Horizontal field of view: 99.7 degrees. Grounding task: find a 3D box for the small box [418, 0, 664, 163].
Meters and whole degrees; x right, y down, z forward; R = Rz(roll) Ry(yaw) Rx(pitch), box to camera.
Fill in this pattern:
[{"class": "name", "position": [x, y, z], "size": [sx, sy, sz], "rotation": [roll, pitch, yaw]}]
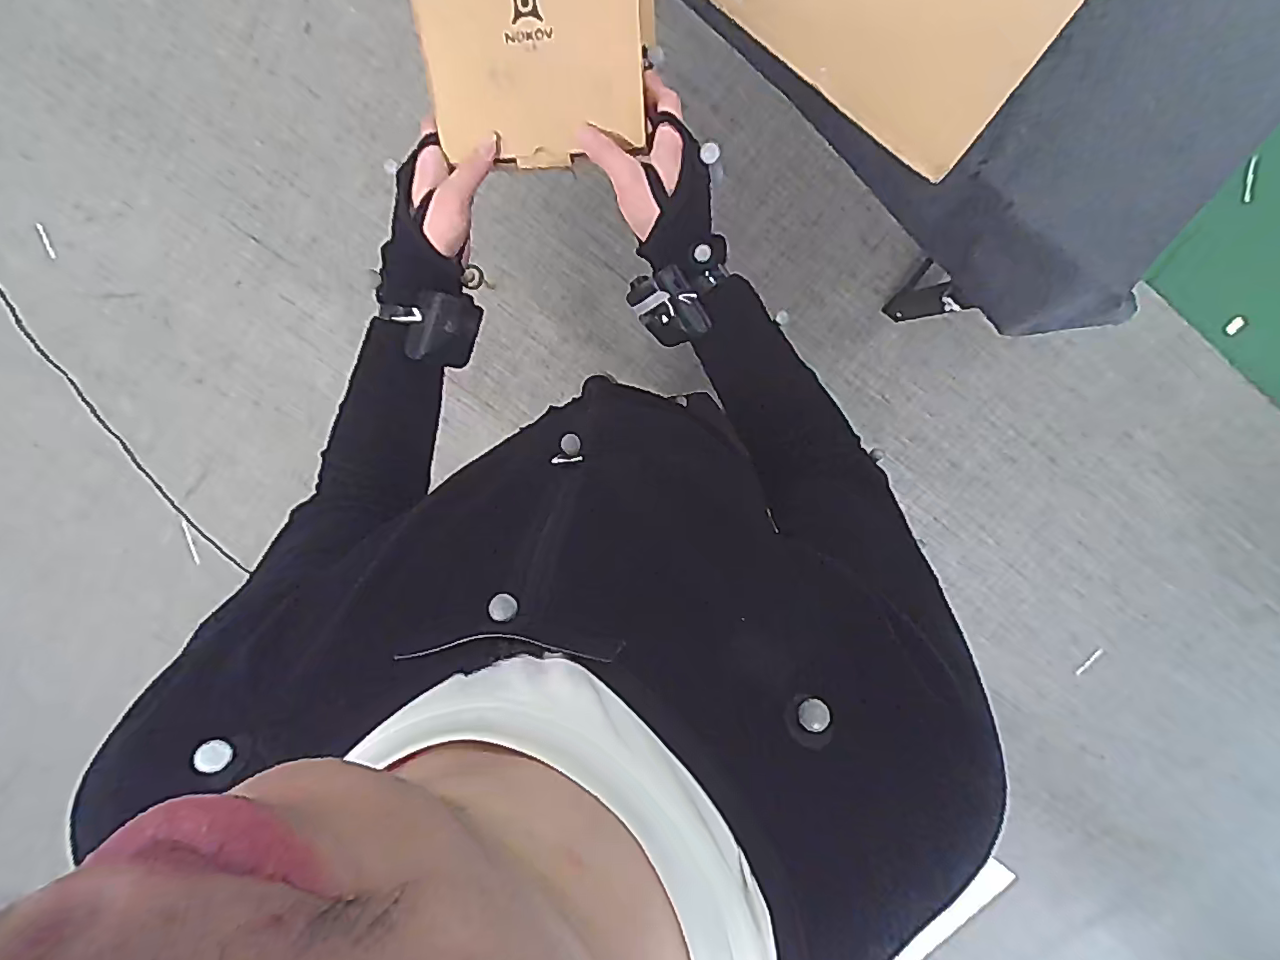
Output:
[{"class": "small box", "position": [-0.071, -0.378, 0.460], "size": [0.168, 0.176, 0.179], "rotation": [-3, 118, 8]}]
